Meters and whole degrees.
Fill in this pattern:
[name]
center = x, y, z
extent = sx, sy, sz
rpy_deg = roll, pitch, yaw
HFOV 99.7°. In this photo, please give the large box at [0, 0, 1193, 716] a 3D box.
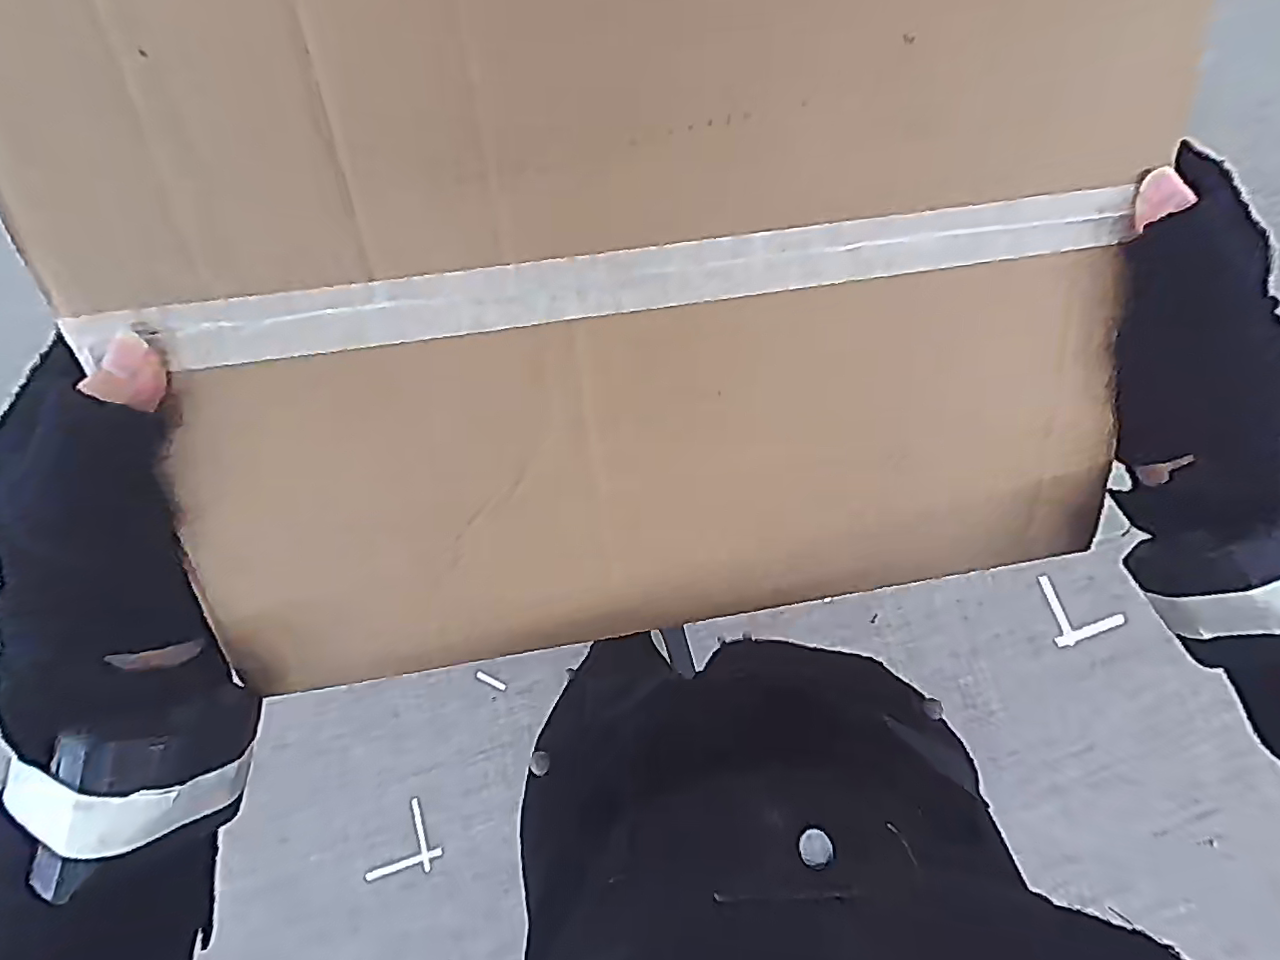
[large box]
center = -0.009, -0.116, 0.348
extent = 0.408, 0.320, 0.320
rpy_deg = -10, 112, -5
